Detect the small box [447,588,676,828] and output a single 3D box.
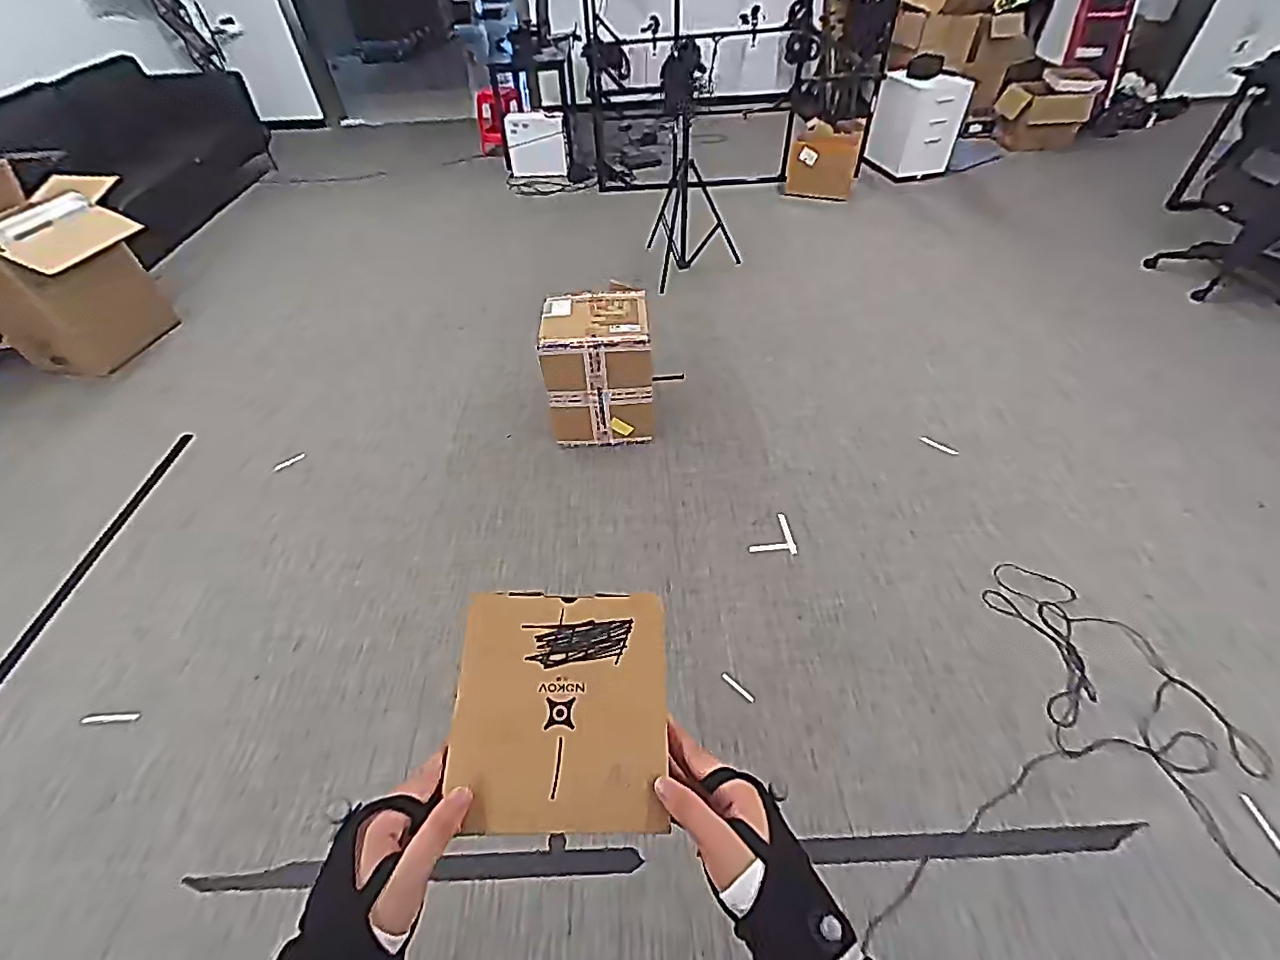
[{"bbox_3d":[-0.059,0.212,0.494,0.168,0.176,0.179,1,59,-2],"label":"small box"}]
